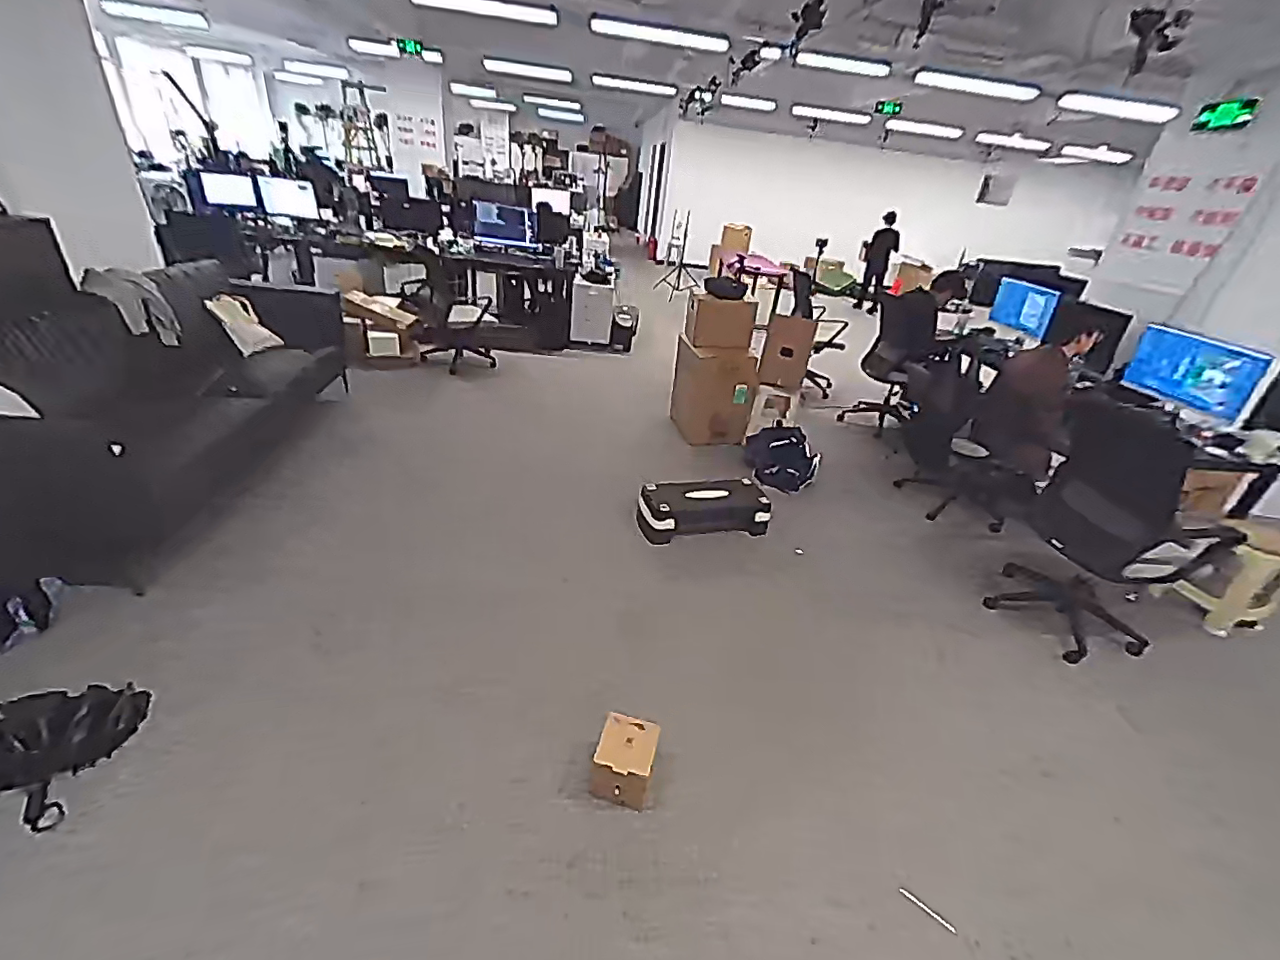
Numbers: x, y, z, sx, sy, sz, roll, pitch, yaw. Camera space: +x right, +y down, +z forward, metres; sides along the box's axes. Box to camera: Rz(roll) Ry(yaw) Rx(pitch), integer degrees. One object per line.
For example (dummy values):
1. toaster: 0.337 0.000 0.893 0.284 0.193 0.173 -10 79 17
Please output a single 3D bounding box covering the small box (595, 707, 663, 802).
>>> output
1. small box: -0.033 0.823 1.618 0.168 0.176 0.179 11 31 10
